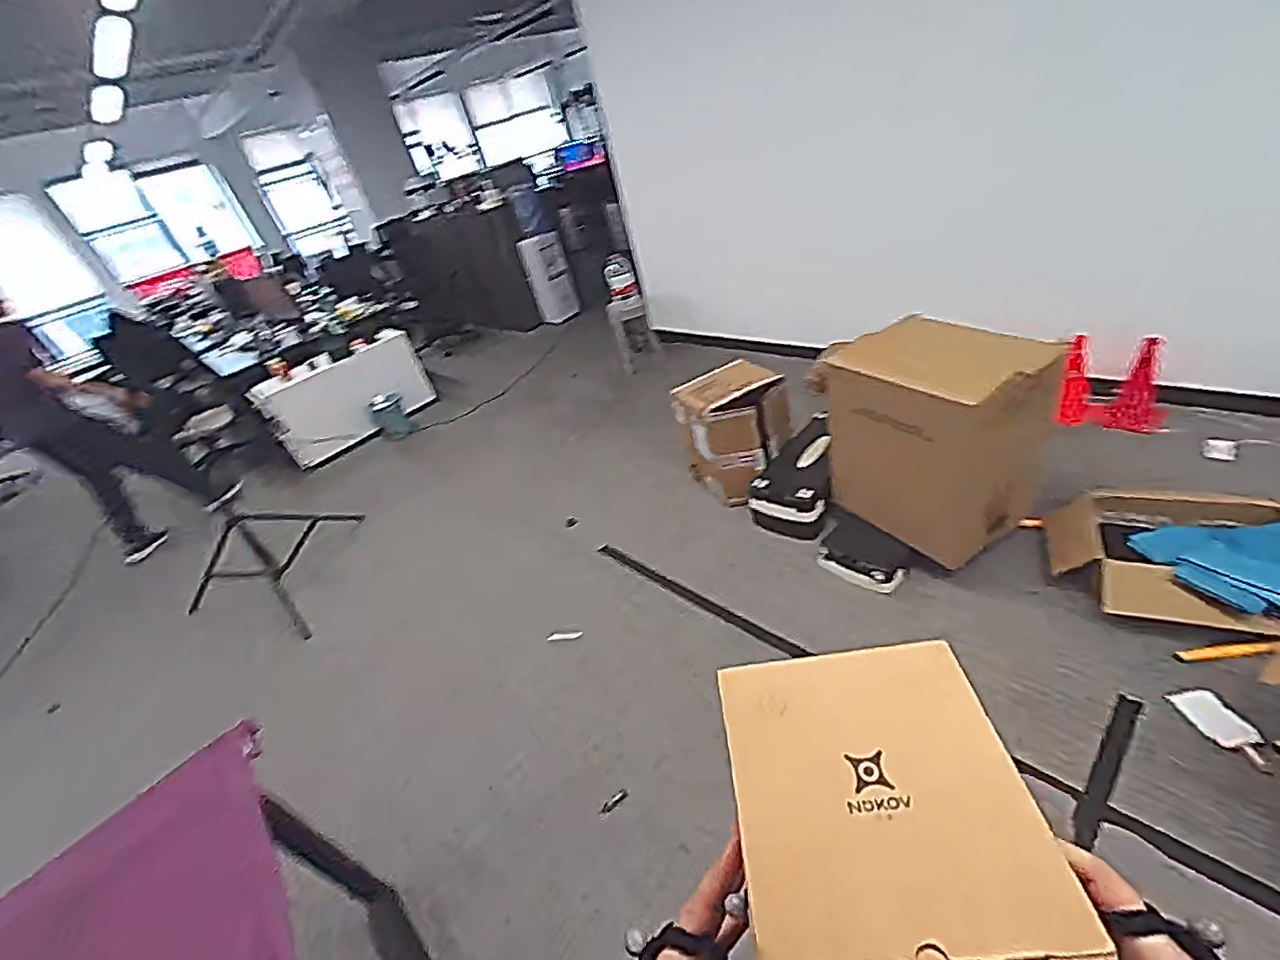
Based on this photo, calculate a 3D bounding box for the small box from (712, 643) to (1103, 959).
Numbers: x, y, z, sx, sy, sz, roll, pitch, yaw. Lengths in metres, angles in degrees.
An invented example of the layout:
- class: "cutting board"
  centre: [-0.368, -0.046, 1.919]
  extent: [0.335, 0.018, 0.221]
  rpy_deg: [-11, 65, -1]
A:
- class: "small box"
  centre: [0.147, 0.242, 0.370]
  extent: [0.168, 0.176, 0.179]
  rpy_deg: [-10, 37, 5]
